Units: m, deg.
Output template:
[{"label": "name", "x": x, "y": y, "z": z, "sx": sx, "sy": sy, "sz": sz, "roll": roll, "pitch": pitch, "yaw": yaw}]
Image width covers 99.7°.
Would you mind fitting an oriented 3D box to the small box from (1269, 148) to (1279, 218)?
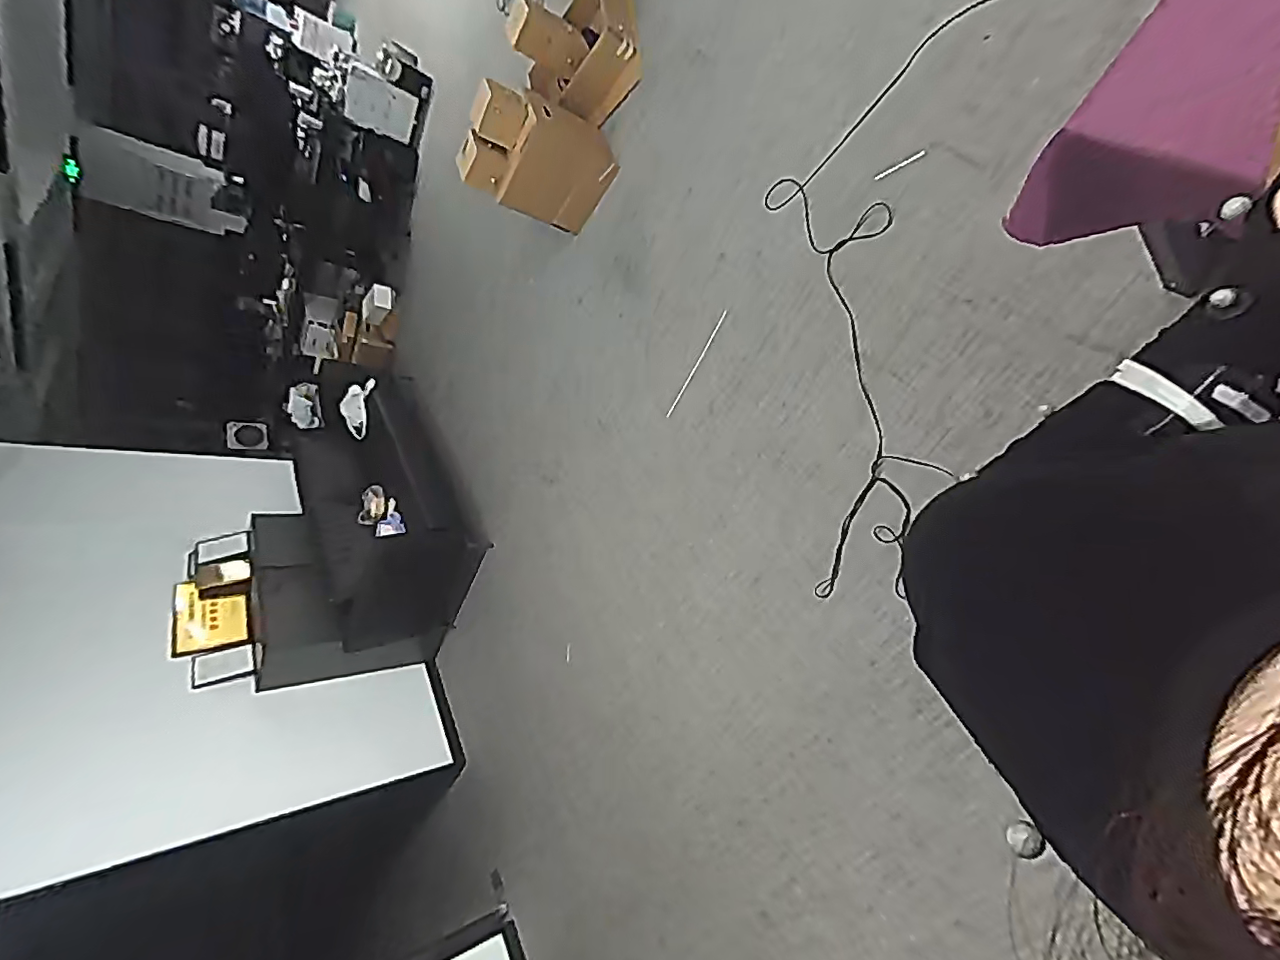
[{"label": "small box", "x": 0.565, "y": -0.273, "z": 0.335, "sx": 0.179, "sy": 0.176, "sz": 0.168, "roll": -53, "pitch": 46, "yaw": 14}]
